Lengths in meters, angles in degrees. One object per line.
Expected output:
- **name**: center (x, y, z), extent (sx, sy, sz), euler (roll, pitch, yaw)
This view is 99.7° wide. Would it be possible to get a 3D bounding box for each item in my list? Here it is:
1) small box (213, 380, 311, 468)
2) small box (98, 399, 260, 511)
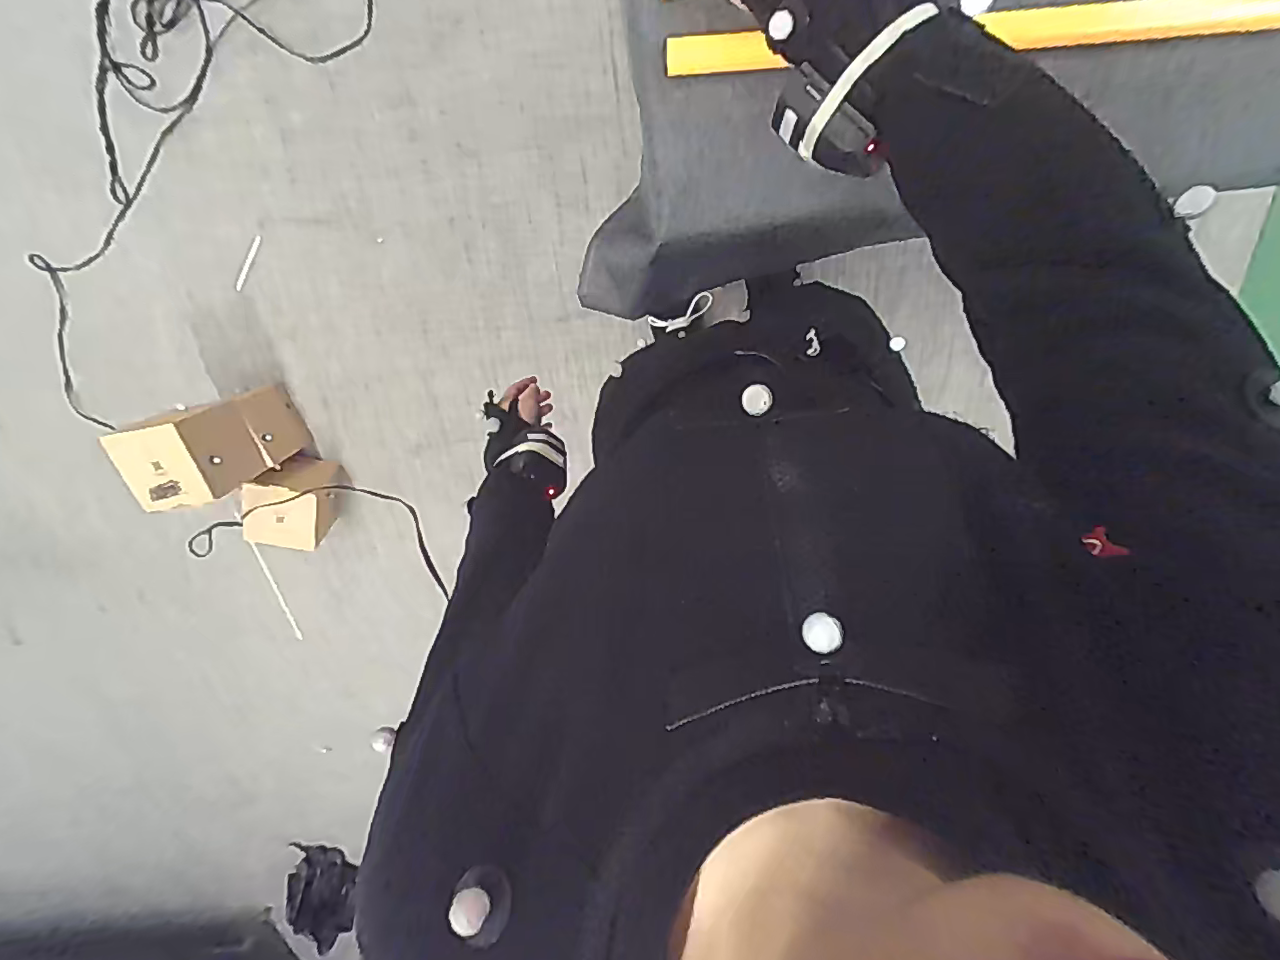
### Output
- **small box**: center (-0.957, -0.125, 1.315), extent (0.179, 0.176, 0.168), euler (-15, 118, 10)
- **small box**: center (-0.970, -0.057, 1.160), extent (0.168, 0.176, 0.179), euler (-9, 114, 5)
